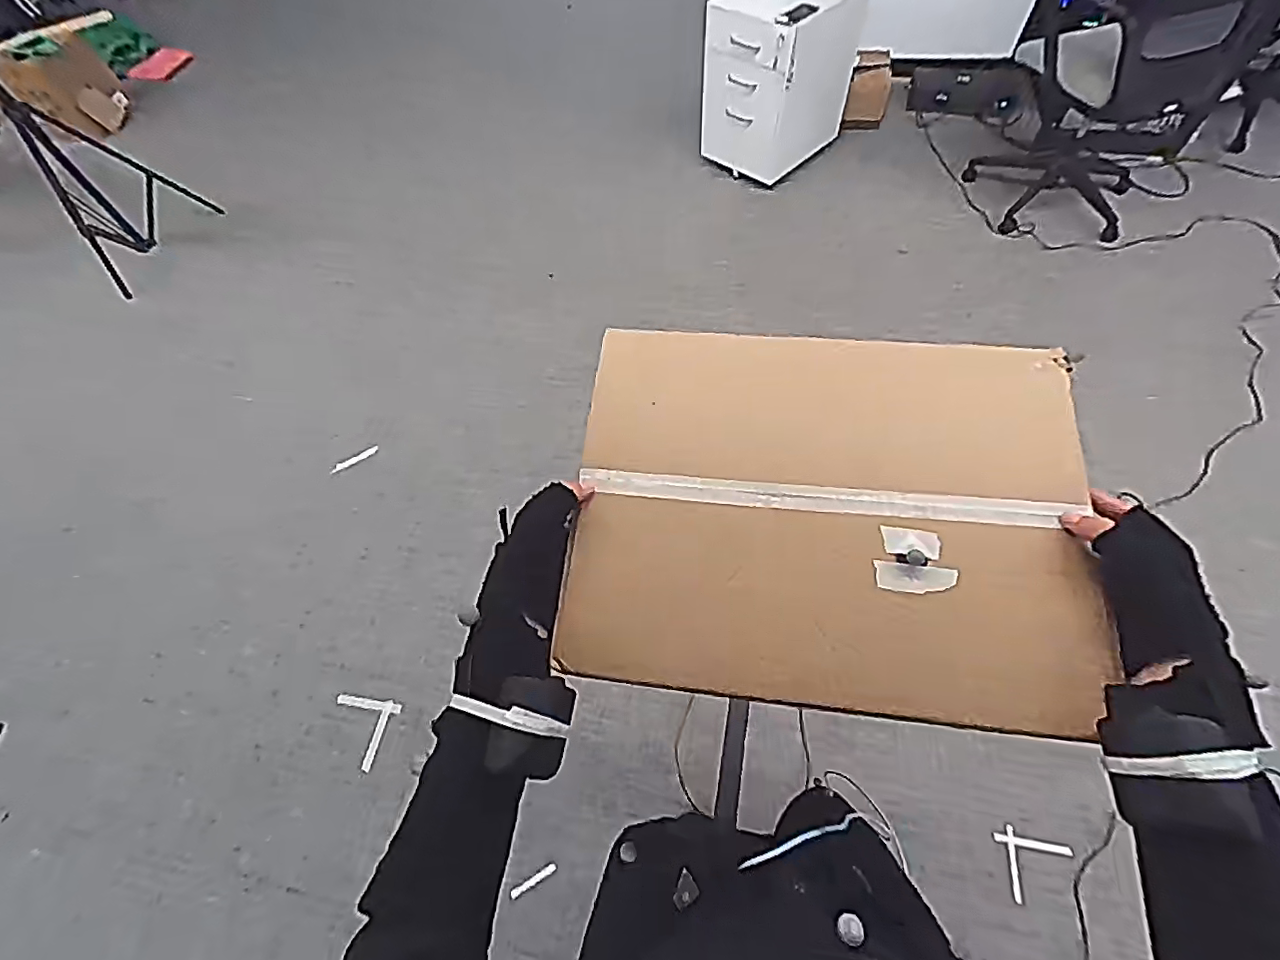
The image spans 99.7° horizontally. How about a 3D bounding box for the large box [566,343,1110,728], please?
[{"bbox_3d":[0.161,0.073,0.591,0.408,0.320,0.320,4,71,7],"label":"large box"}]
